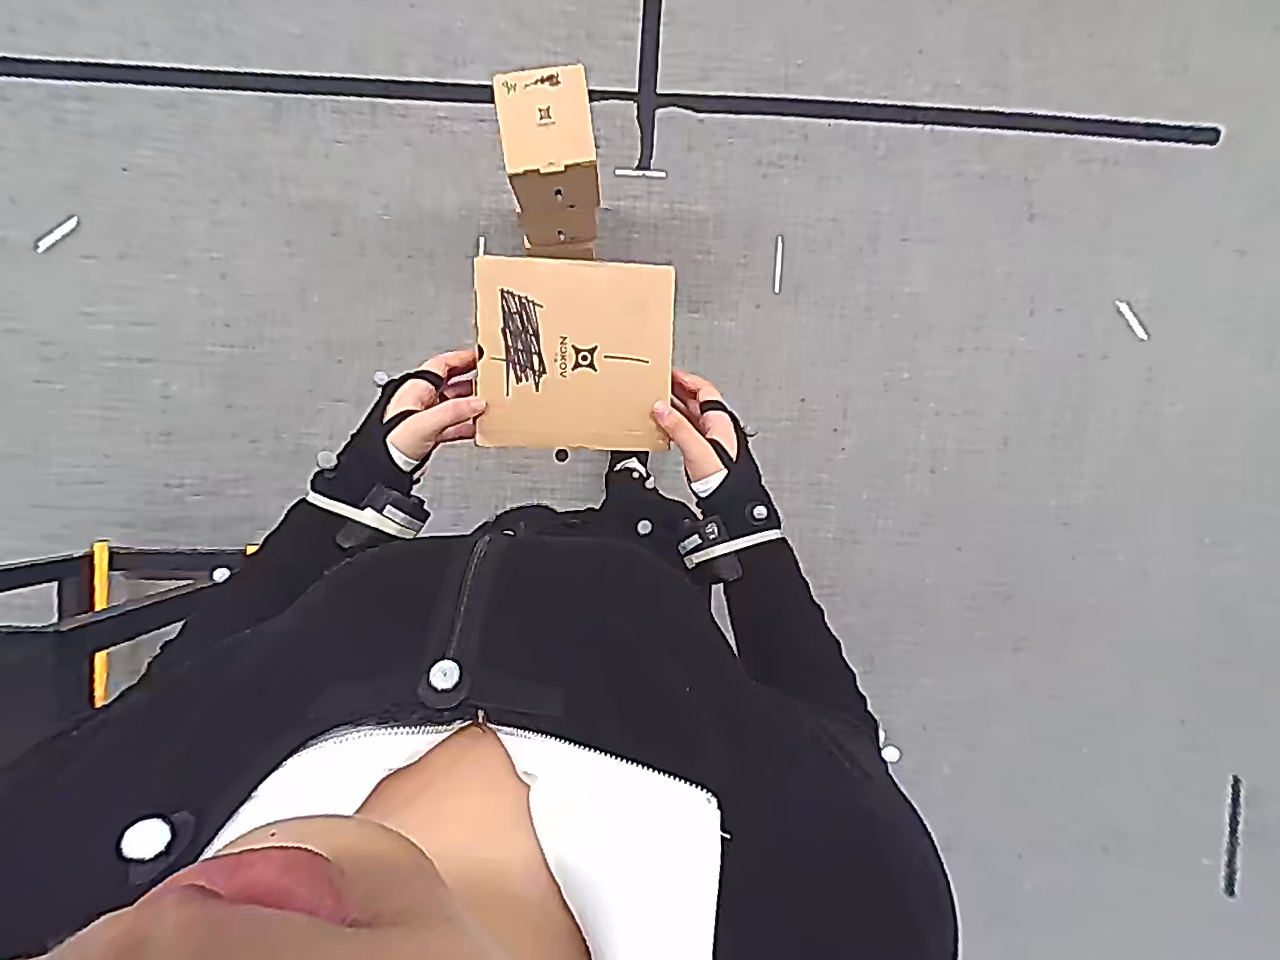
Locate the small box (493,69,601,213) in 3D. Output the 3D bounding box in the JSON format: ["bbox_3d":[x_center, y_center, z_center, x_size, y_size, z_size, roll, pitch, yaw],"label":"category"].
[{"bbox_3d":[-0.169,-0.633,1.036,0.168,0.176,0.179,-8,92,-1],"label":"small box"}]

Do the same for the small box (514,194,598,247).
[{"bbox_3d":[-0.185,-0.643,1.199,0.168,0.176,0.179,-6,92,0],"label":"small box"}]

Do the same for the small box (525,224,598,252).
[{"bbox_3d":[-0.194,-0.636,1.364,0.168,0.176,0.179,-1,93,-1],"label":"small box"}]

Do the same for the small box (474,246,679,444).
[{"bbox_3d":[-0.062,-0.124,0.551,0.179,0.176,0.168,1,96,-5],"label":"small box"}]
